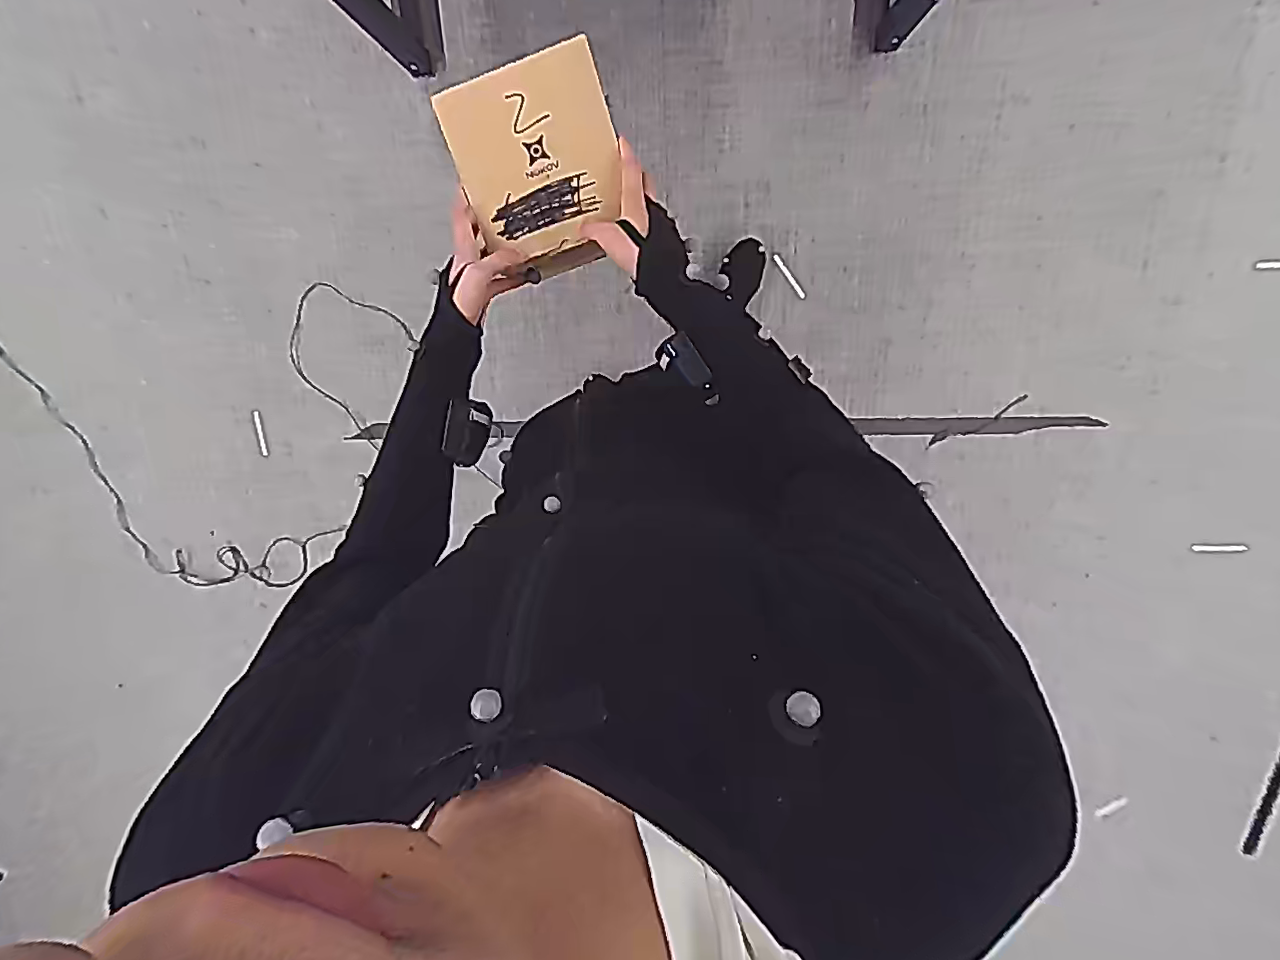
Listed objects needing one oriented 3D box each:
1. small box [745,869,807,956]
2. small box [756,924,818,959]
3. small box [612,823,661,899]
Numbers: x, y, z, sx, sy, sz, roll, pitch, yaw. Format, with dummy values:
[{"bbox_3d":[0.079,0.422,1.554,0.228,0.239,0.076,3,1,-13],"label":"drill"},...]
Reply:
[{"bbox_3d":[0.450,1.457,1.819,0.168,0.176,0.179,2,108,1],"label":"small box"},{"bbox_3d":[0.460,1.507,1.662,0.179,0.176,0.168,-5,108,3],"label":"small box"},{"bbox_3d":[-0.009,1.402,1.995,0.179,0.176,0.168,0,107,4],"label":"small box"}]
